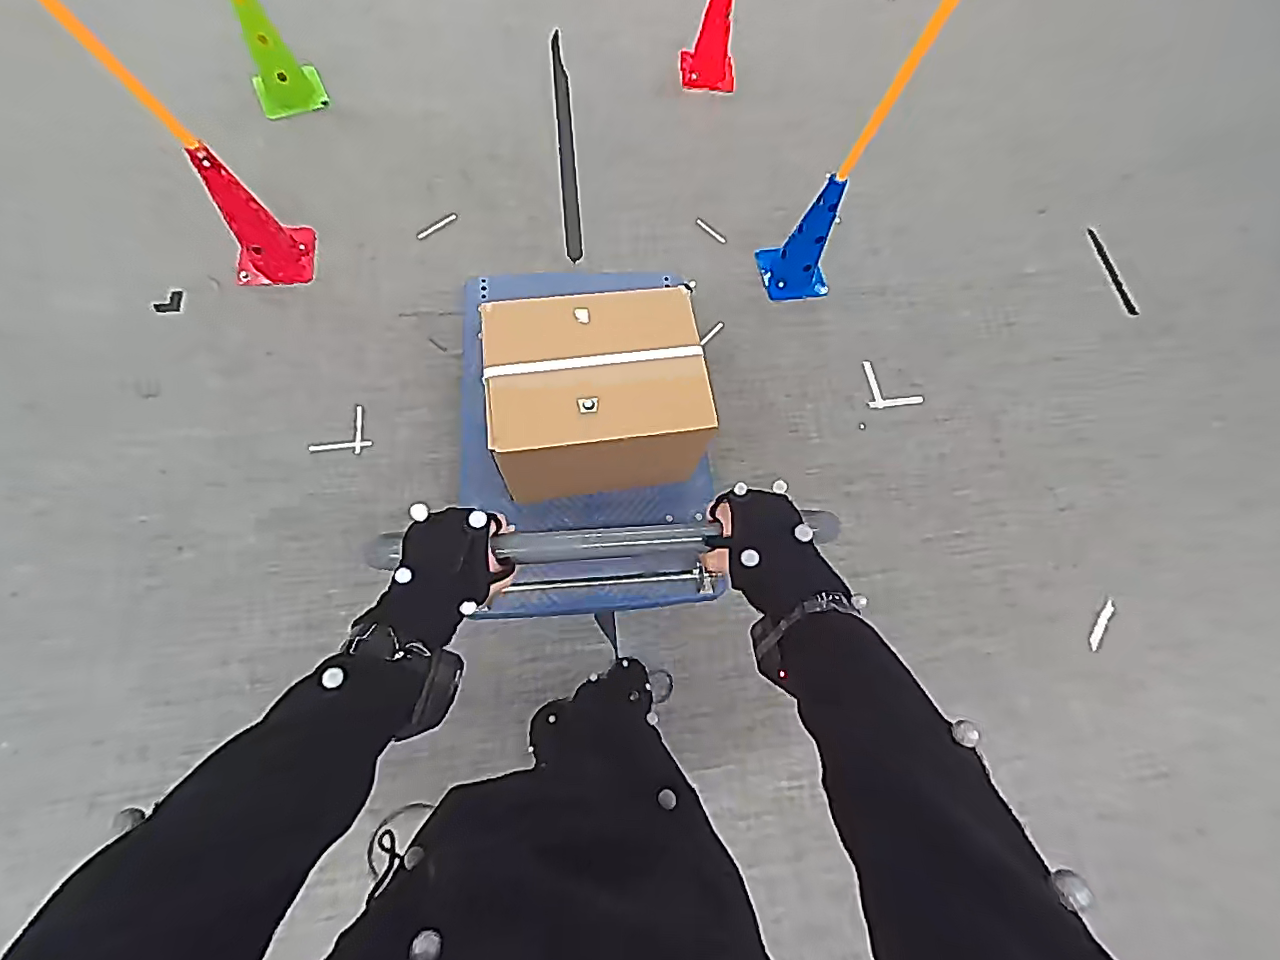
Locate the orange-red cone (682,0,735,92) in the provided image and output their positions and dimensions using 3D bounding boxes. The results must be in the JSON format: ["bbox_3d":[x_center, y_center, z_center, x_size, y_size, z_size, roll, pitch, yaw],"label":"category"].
[{"bbox_3d":[0.269,-1.563,1.833,0.199,0.360,0.198,2,71,-6],"label":"orange-red cone"}]

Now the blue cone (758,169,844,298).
[{"bbox_3d":[0.500,-0.721,1.574,0.193,0.380,0.192,-8,71,-9],"label":"blue cone"}]
